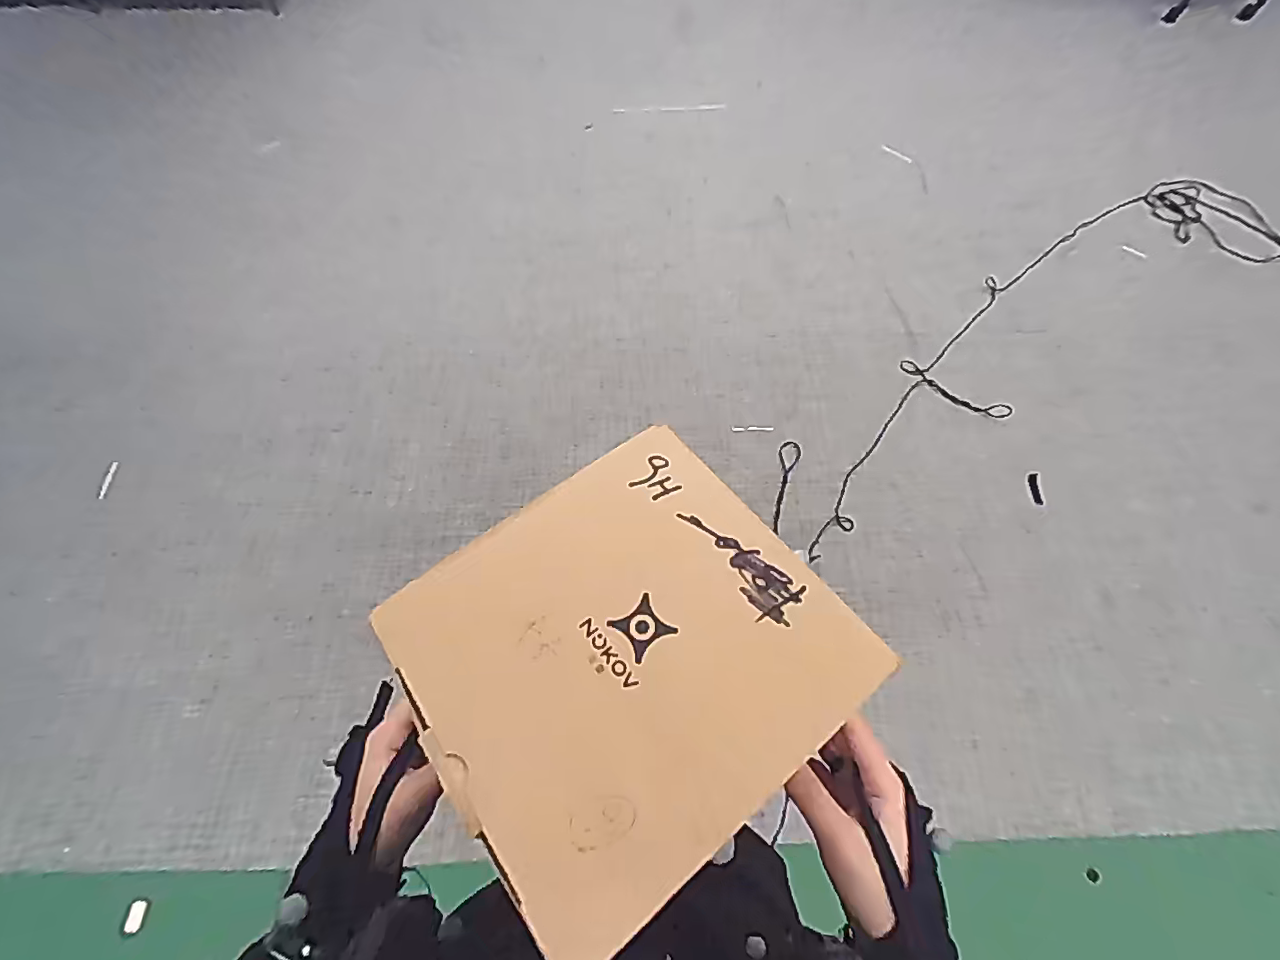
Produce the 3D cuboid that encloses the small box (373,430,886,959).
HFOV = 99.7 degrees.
[{"bbox_3d":[-0.005,0.113,0.308,0.179,0.176,0.168,-35,64,-17],"label":"small box"}]
